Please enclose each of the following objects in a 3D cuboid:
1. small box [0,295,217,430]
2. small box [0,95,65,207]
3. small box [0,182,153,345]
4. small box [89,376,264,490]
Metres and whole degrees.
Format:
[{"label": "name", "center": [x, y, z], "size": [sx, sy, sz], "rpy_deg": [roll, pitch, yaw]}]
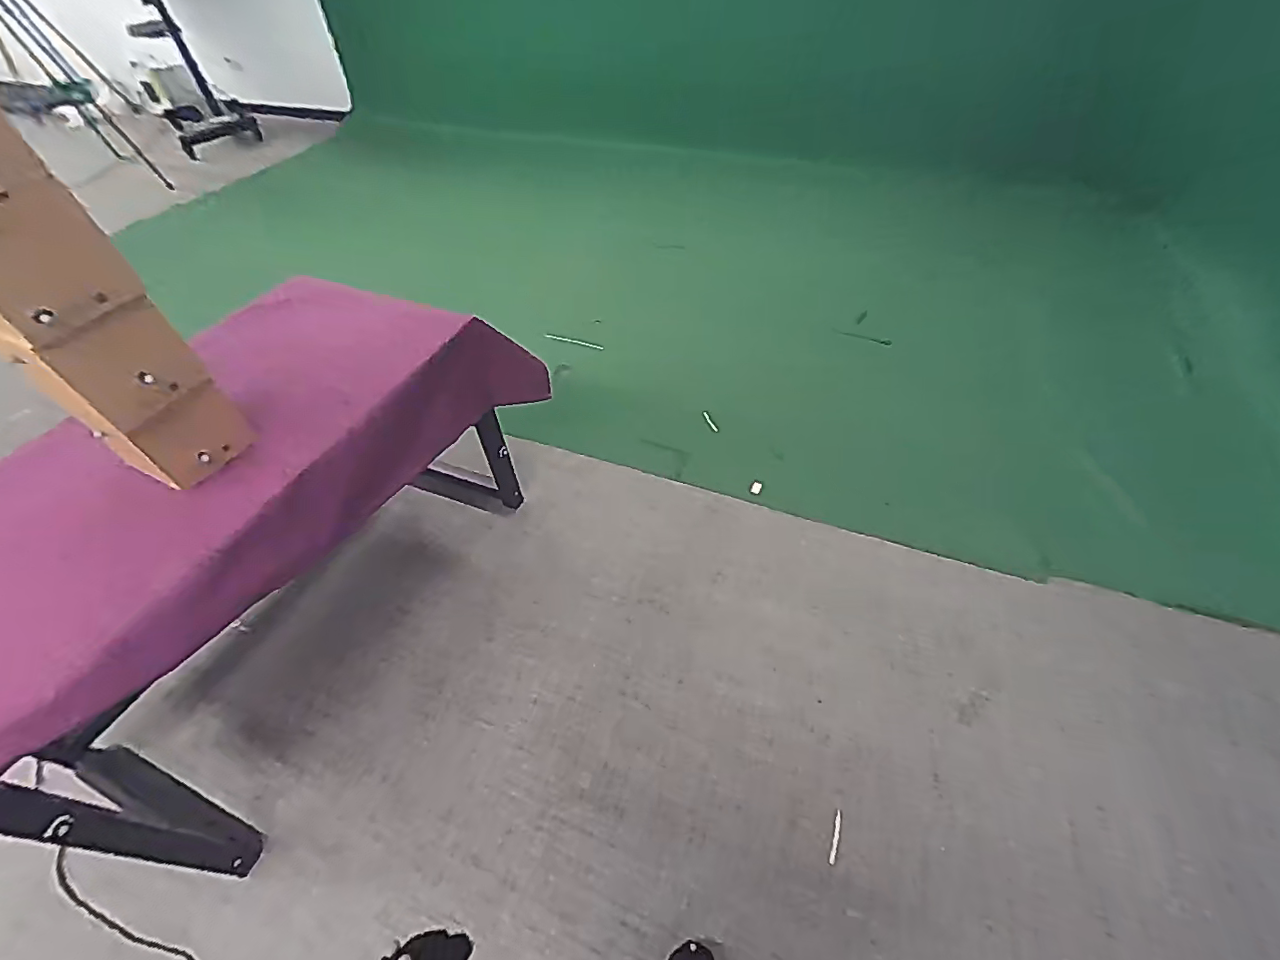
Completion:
[{"label": "small box", "center": [-0.871, -0.207, 0.894], "size": [0.179, 0.176, 0.168], "rpy_deg": [19, 53, 18]}, {"label": "small box", "center": [-0.881, -0.424, 0.649], "size": [0.179, 0.176, 0.168], "rpy_deg": [20, 54, 20]}, {"label": "small box", "center": [-0.868, -0.315, 0.771], "size": [0.179, 0.176, 0.168], "rpy_deg": [19, 53, 20]}, {"label": "small box", "center": [-0.876, -0.107, 1.025], "size": [0.179, 0.176, 0.168], "rpy_deg": [20, 53, 19]}]
